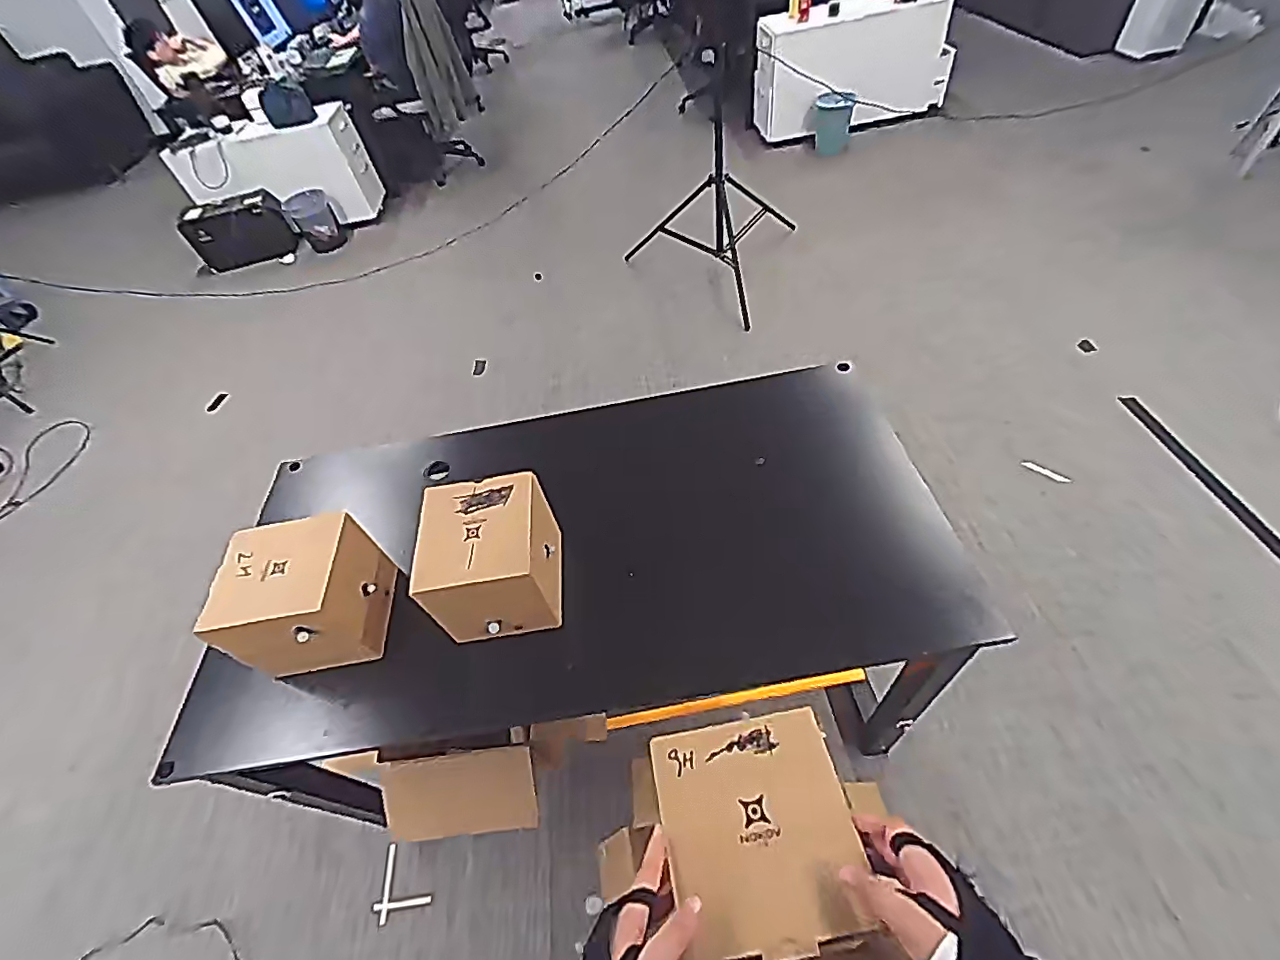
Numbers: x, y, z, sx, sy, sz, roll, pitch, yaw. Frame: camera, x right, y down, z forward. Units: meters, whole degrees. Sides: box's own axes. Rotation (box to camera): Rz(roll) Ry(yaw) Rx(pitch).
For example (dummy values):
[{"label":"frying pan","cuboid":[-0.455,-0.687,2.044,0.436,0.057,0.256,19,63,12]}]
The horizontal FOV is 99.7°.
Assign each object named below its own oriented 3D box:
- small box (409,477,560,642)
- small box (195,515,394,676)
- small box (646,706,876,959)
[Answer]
[{"label":"small box","cuboid":[-0.221,0.123,0.819,0.168,0.176,0.179,-10,51,2]},{"label":"small box","cuboid":[-0.500,0.178,0.820,0.179,0.176,0.168,-11,50,1]},{"label":"small box","cuboid":[0.107,0.354,0.538,0.168,0.176,0.179,-11,47,-1]}]
